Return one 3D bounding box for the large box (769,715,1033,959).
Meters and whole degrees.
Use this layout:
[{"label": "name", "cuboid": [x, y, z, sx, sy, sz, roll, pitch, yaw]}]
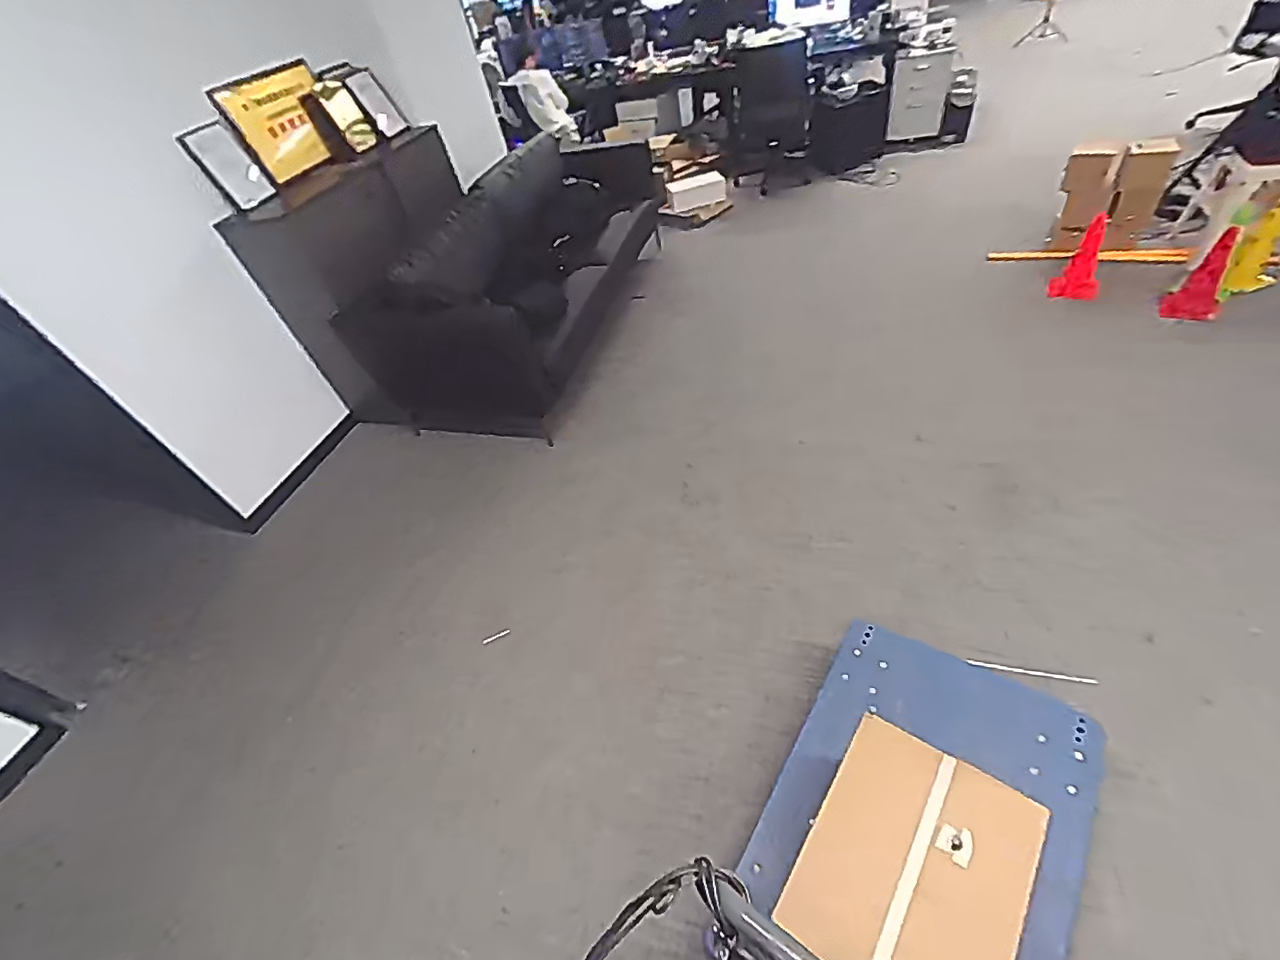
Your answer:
[{"label": "large box", "cuboid": [0.469, 0.751, 1.010, 0.320, 0.320, 0.408, 23, 54, 31]}]
